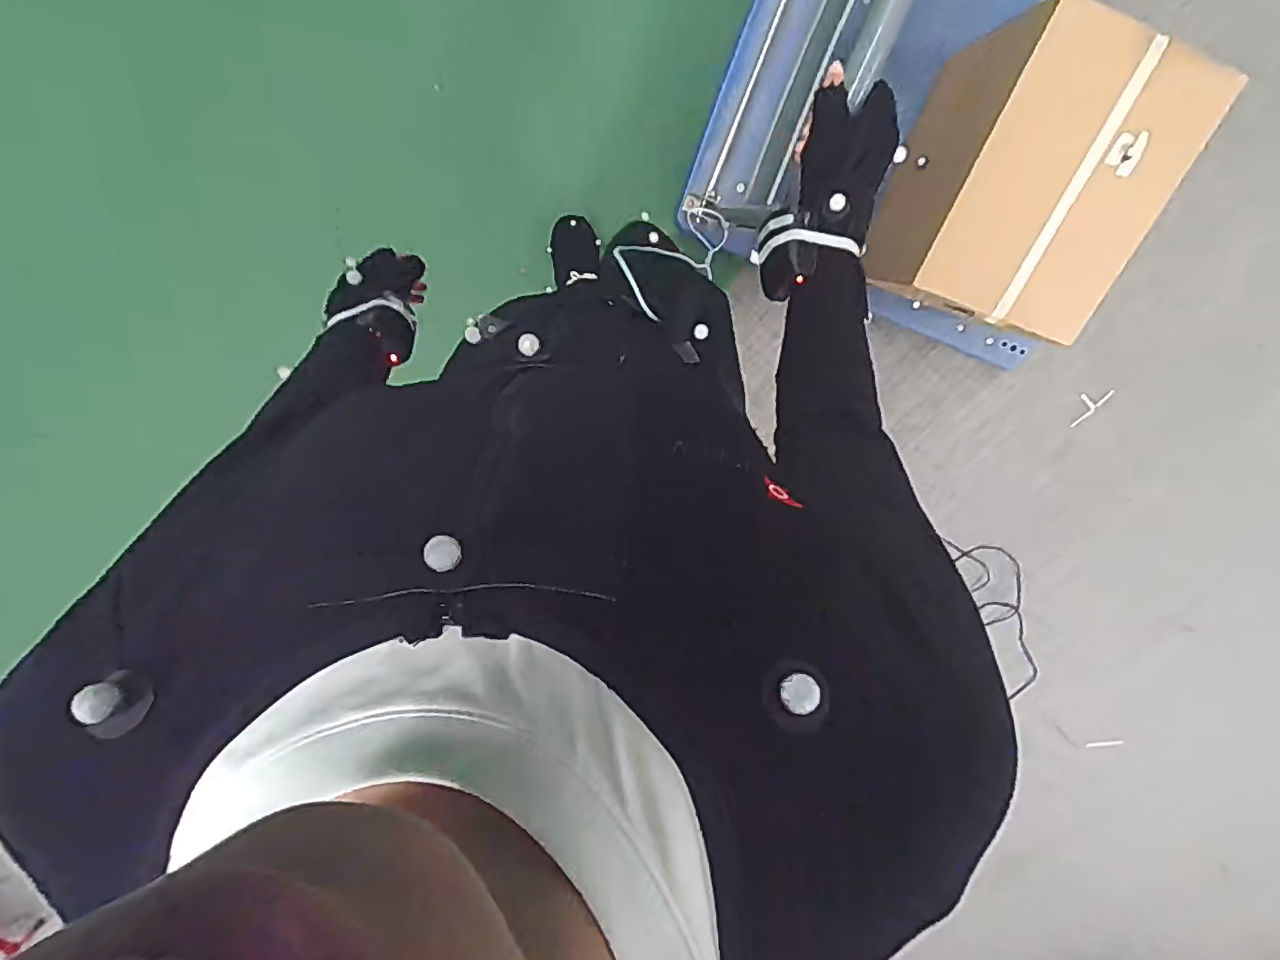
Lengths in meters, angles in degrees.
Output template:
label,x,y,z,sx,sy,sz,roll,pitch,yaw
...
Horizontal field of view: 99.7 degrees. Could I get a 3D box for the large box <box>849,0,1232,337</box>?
label,x,y,z,sx,sy,sz,roll,pitch,yaw
large box,0.648,-0.516,0.969,0.320,0.320,0.408,18,112,-9
